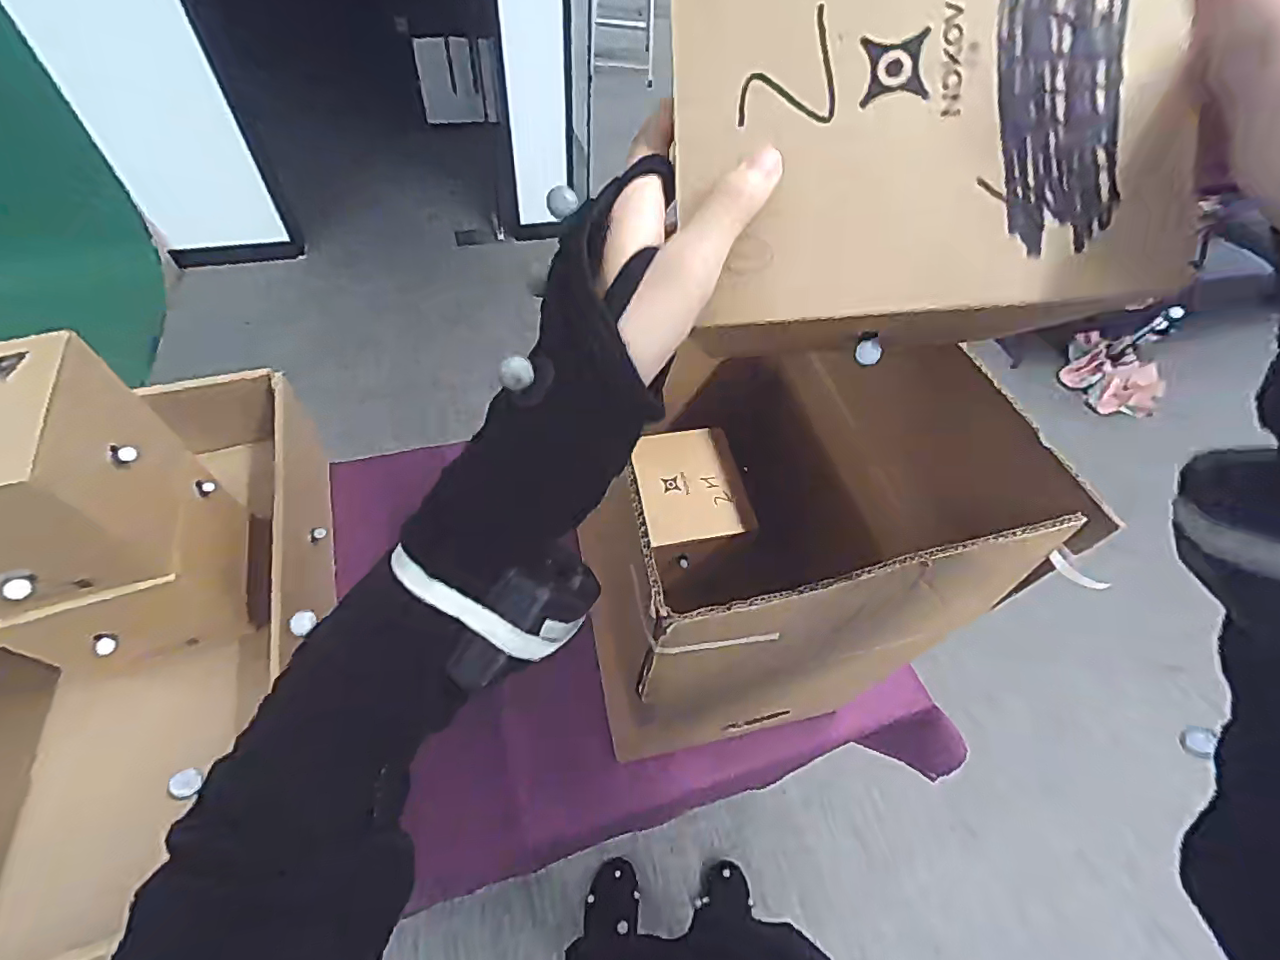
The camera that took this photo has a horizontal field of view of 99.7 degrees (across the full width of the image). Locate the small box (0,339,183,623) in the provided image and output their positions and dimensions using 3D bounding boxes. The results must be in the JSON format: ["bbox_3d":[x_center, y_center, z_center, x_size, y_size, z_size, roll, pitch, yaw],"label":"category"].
[{"bbox_3d":[-0.562,0.005,0.493,0.168,0.176,0.179,-16,59,-14],"label":"small box"}]

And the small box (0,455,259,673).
[{"bbox_3d":[-0.570,0.104,0.624,0.168,0.176,0.179,-17,58,-15],"label":"small box"}]
